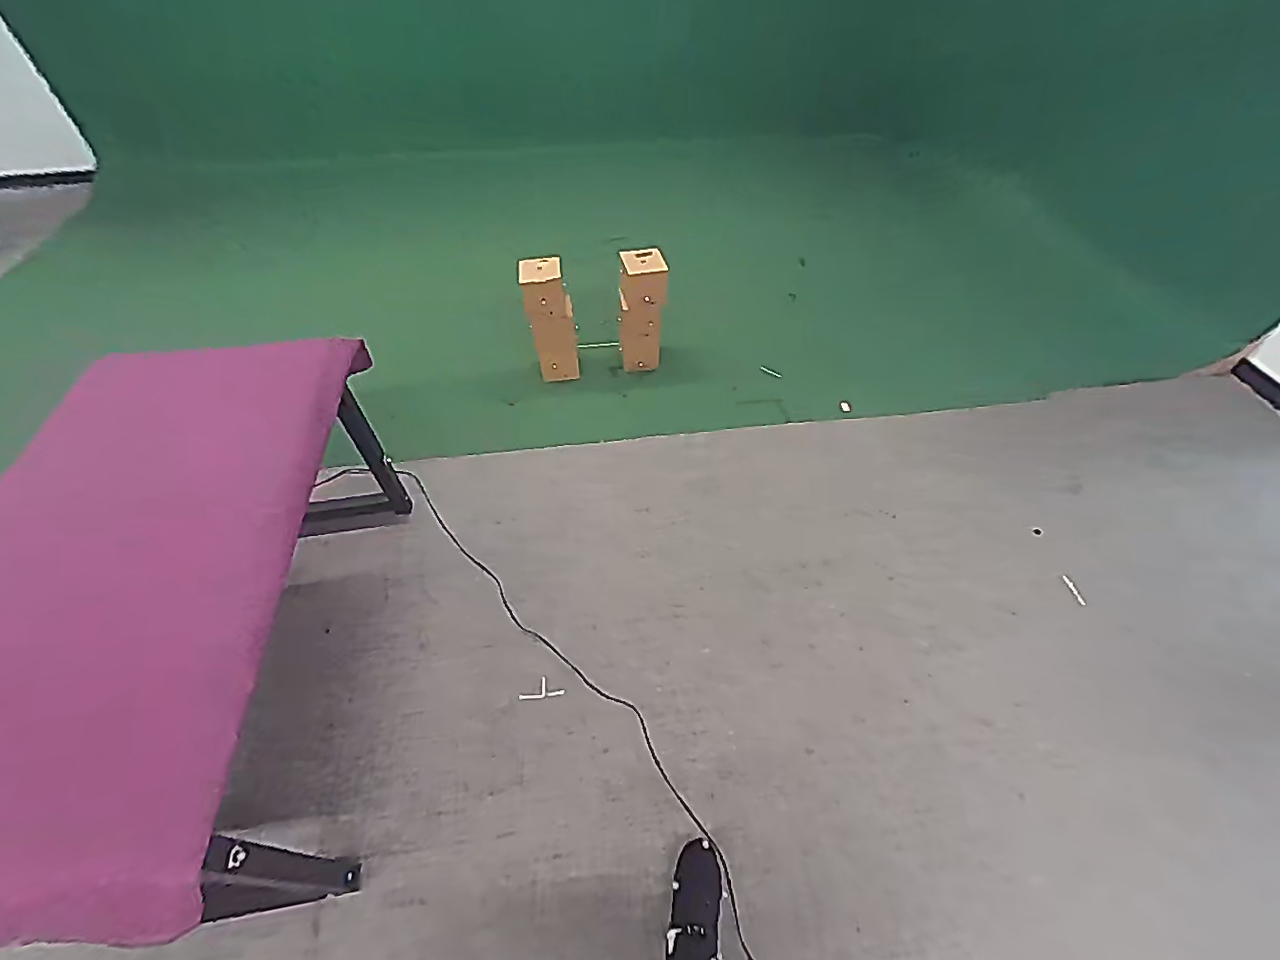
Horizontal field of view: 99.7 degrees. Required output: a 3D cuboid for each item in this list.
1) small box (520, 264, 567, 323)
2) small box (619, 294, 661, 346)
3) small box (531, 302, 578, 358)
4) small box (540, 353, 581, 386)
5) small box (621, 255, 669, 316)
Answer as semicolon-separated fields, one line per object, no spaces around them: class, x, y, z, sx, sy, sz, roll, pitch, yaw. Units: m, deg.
small box;-0.394;-0.760;2.224;0.168;0.176;0.179;-7;50;-4
small box;0.000;-0.707;2.387;0.168;0.176;0.179;-6;50;-6
small box;-0.370;-0.645;2.341;0.179;0.176;0.168;-7;50;-5
small box;-0.365;-0.542;2.469;0.168;0.176;0.179;-8;49;-5
small box;0.015;-0.813;2.262;0.168;0.176;0.179;-11;53;-9
